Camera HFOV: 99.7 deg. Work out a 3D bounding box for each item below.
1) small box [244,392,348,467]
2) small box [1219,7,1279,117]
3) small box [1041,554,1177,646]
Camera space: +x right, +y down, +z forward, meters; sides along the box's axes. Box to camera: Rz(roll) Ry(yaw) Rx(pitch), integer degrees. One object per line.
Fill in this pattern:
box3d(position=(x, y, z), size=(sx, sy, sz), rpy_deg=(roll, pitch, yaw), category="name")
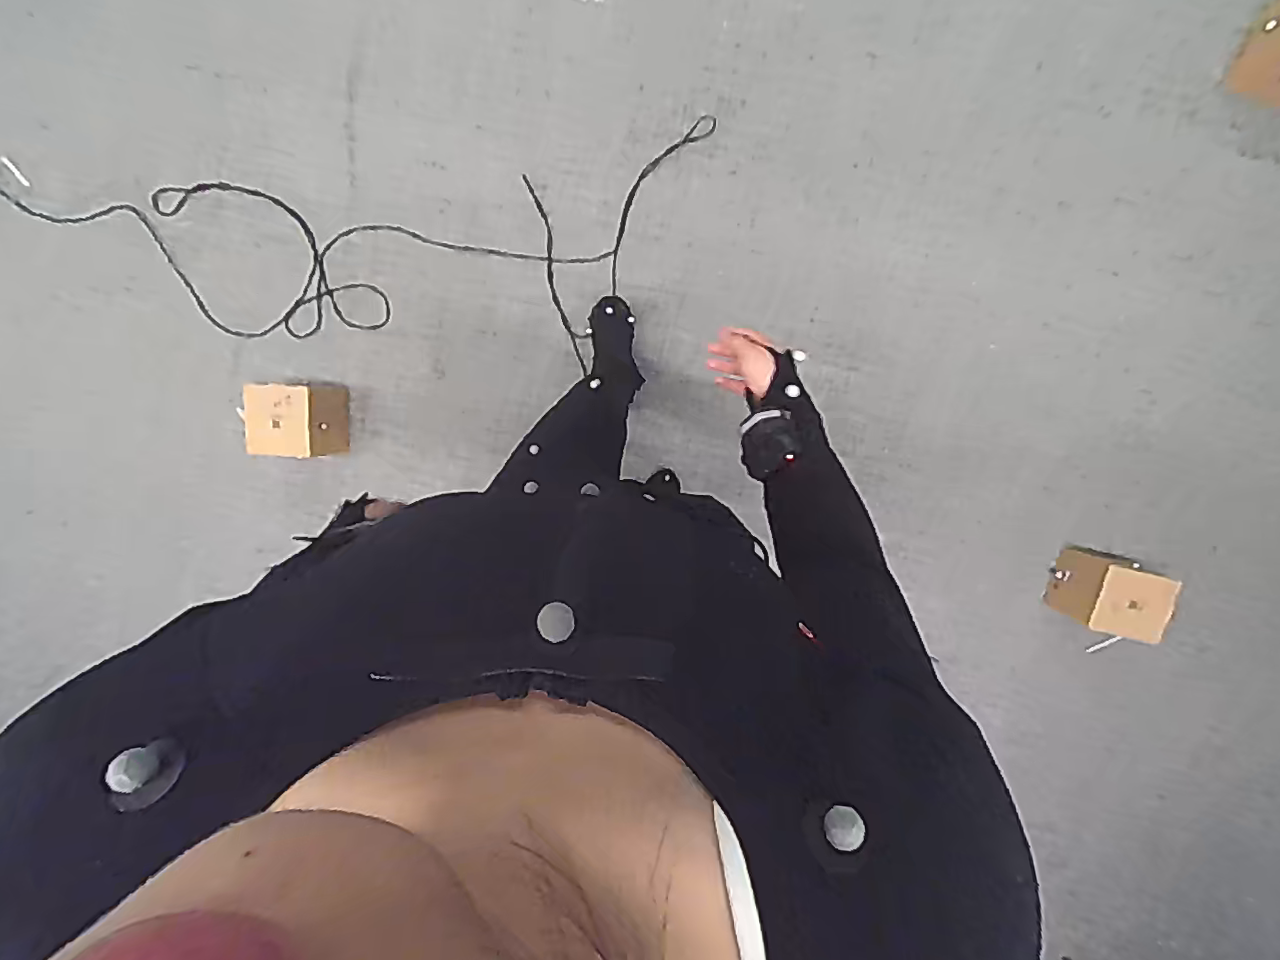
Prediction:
box3d(position=(-0.878, -0.135, 1.396), size=(0.168, 0.176, 0.179), rpy_deg=(3, 98, 2), category="small box")
box3d(position=(1.455, -0.940, 1.180), size=(0.179, 0.176, 0.168), rpy_deg=(24, 99, -1), category="small box")
box3d(position=(1.187, 0.299, 1.382), size=(0.179, 0.176, 0.168), rpy_deg=(12, 97, 2), category="small box")
